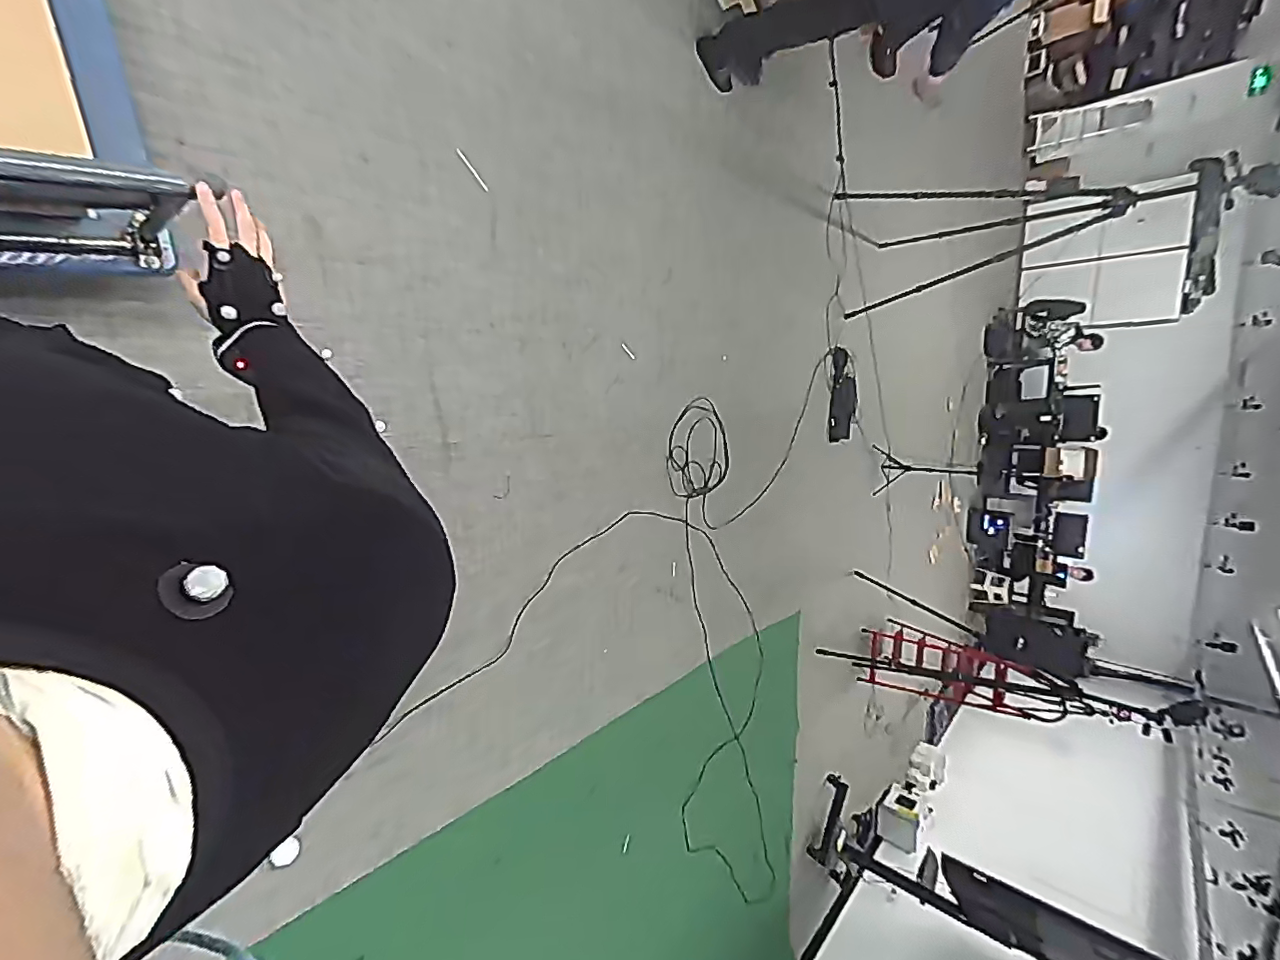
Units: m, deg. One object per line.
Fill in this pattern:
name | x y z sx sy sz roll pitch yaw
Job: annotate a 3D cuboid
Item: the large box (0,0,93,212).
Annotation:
large box | -1.063 -0.642 0.772 0.320 0.320 0.408 -20 109 -44
